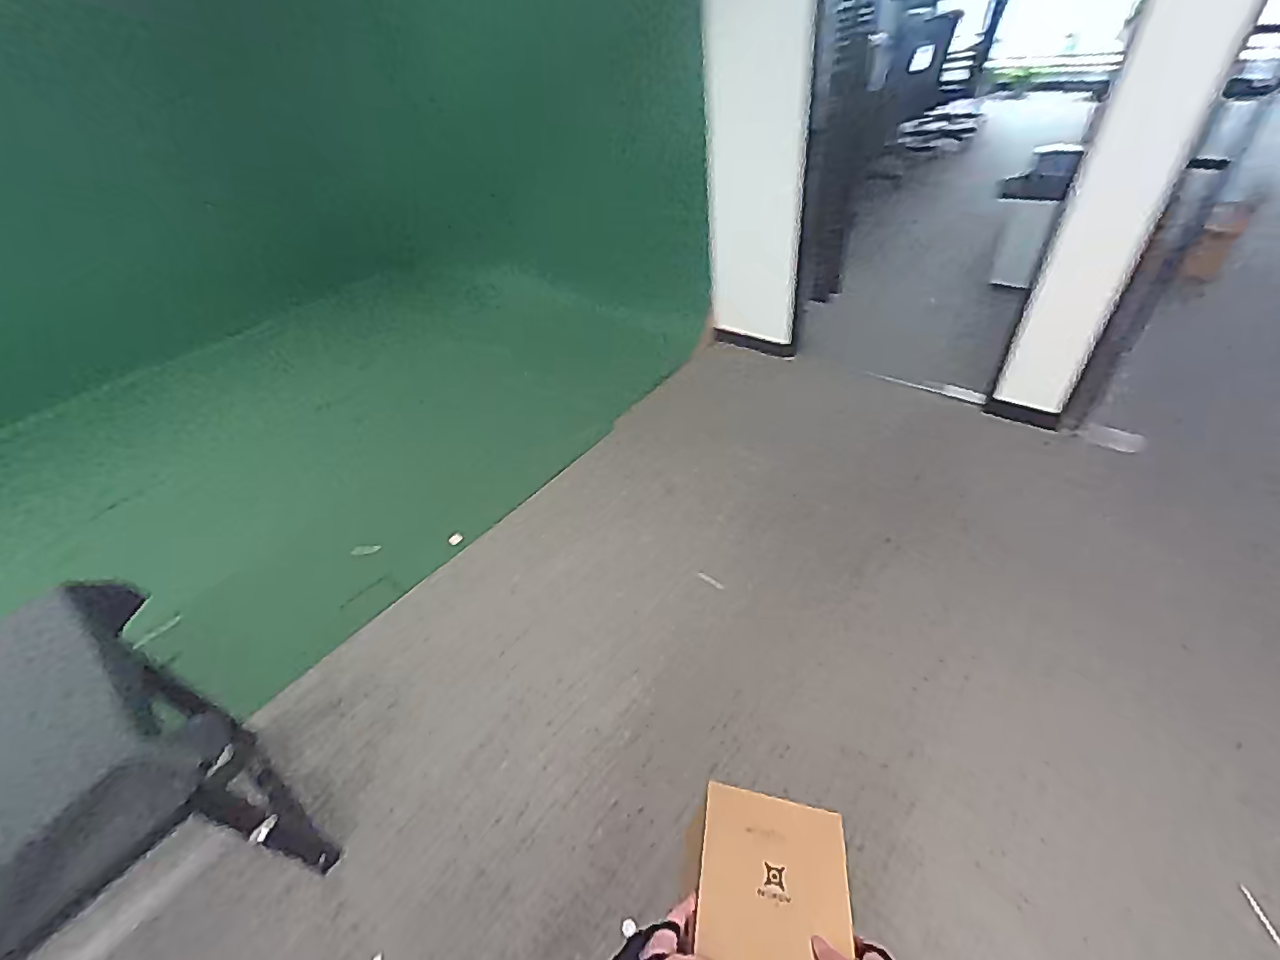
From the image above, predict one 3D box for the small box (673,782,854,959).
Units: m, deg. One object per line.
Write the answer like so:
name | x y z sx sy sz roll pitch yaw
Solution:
small box | 0.137 0.502 0.645 0.168 0.176 0.179 12 37 2
